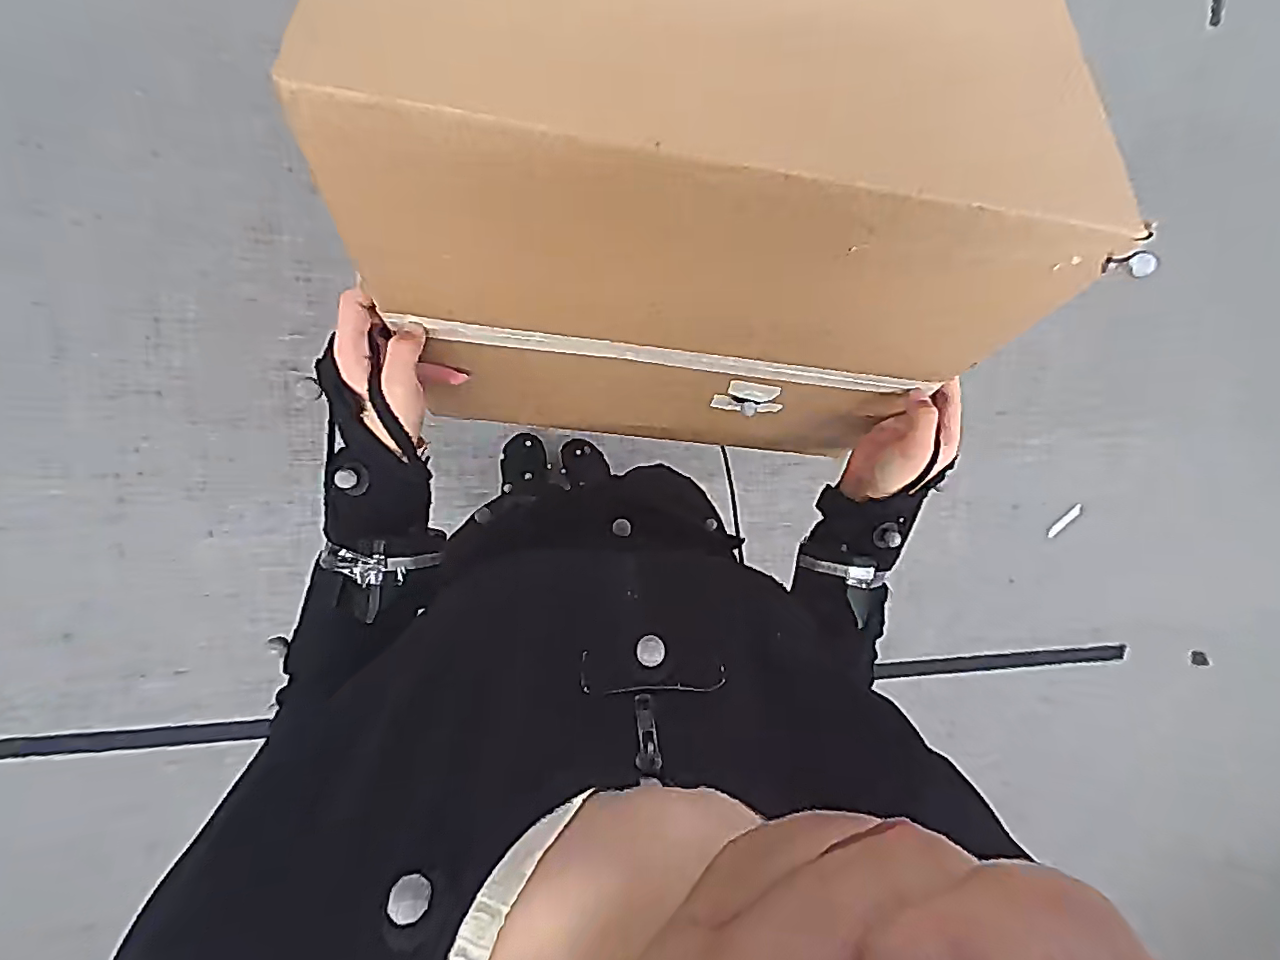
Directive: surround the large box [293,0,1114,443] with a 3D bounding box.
[{"bbox_3d":[0.028,-0.242,0.438,0.408,0.320,0.320,4,72,-8],"label":"large box"}]
